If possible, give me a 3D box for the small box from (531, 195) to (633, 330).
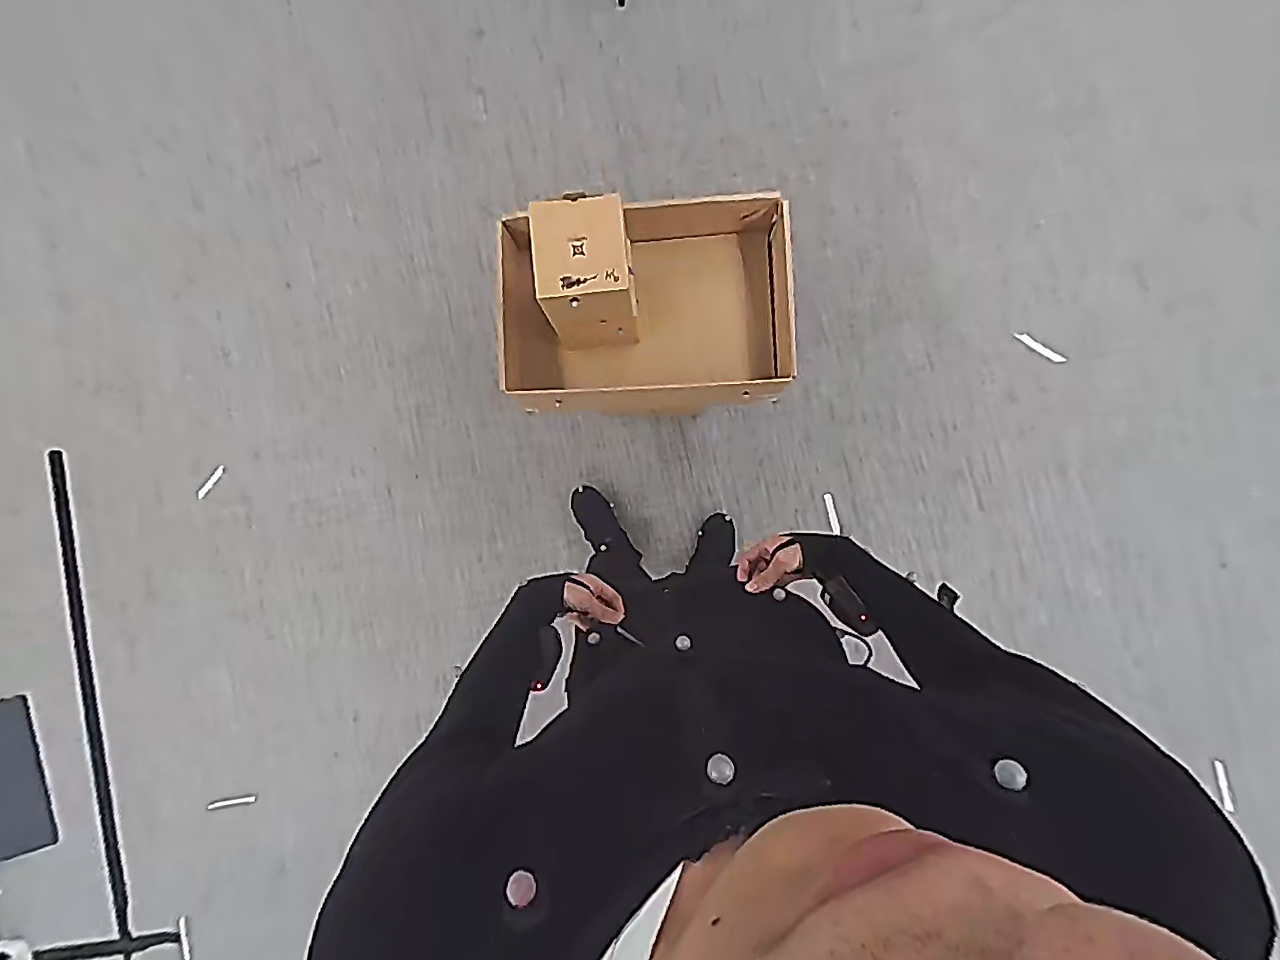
[{"bbox_3d":[-0.103,-0.400,1.016,0.168,0.176,0.179,-5,86,2],"label":"small box"}]
